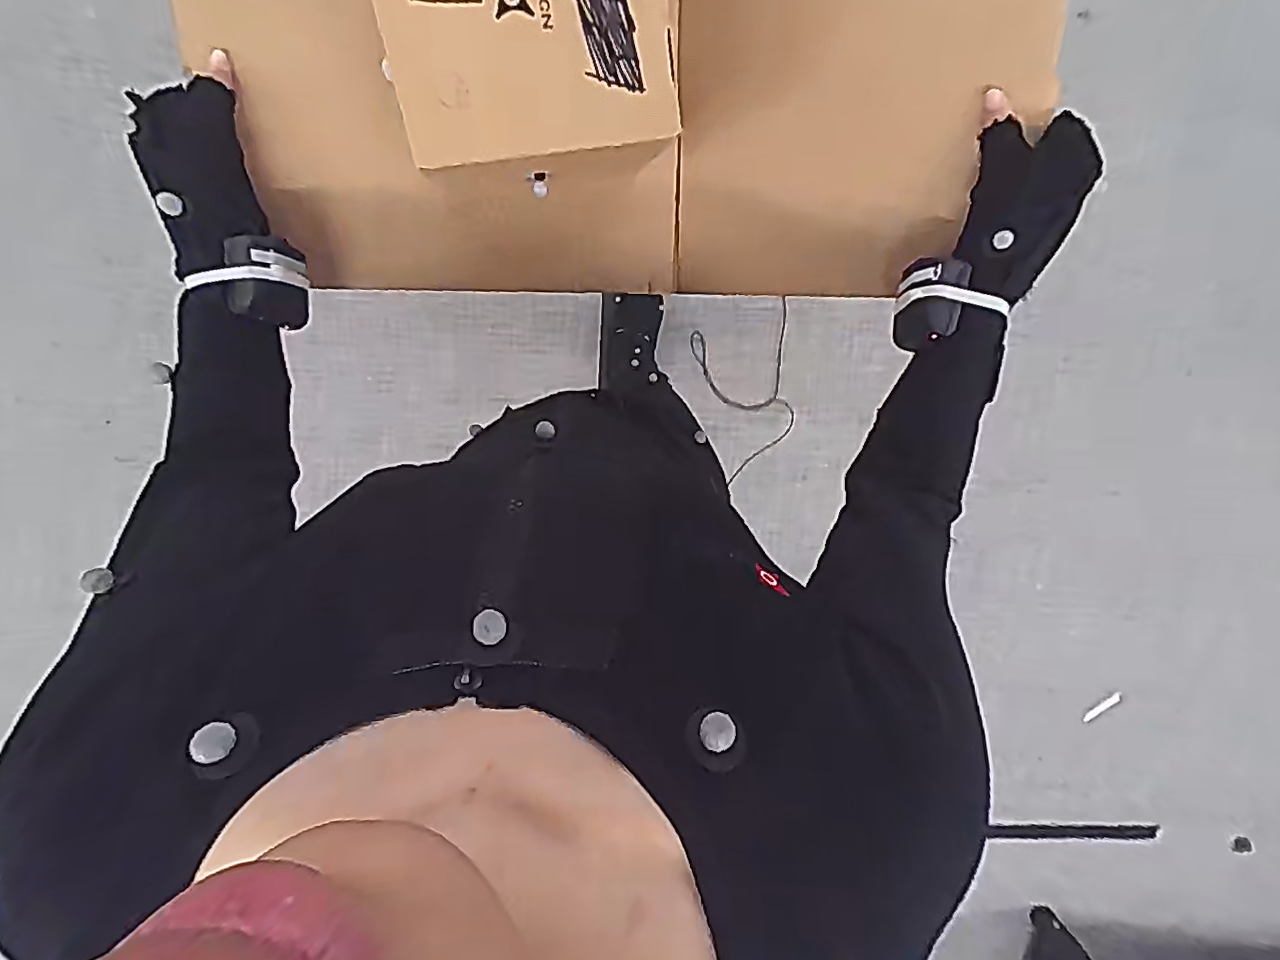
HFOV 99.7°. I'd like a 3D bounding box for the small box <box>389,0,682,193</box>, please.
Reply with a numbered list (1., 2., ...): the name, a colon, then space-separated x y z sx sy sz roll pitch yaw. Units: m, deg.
1. small box: -0.081 -0.325 0.404 0.179 0.176 0.168 -12 111 -8
